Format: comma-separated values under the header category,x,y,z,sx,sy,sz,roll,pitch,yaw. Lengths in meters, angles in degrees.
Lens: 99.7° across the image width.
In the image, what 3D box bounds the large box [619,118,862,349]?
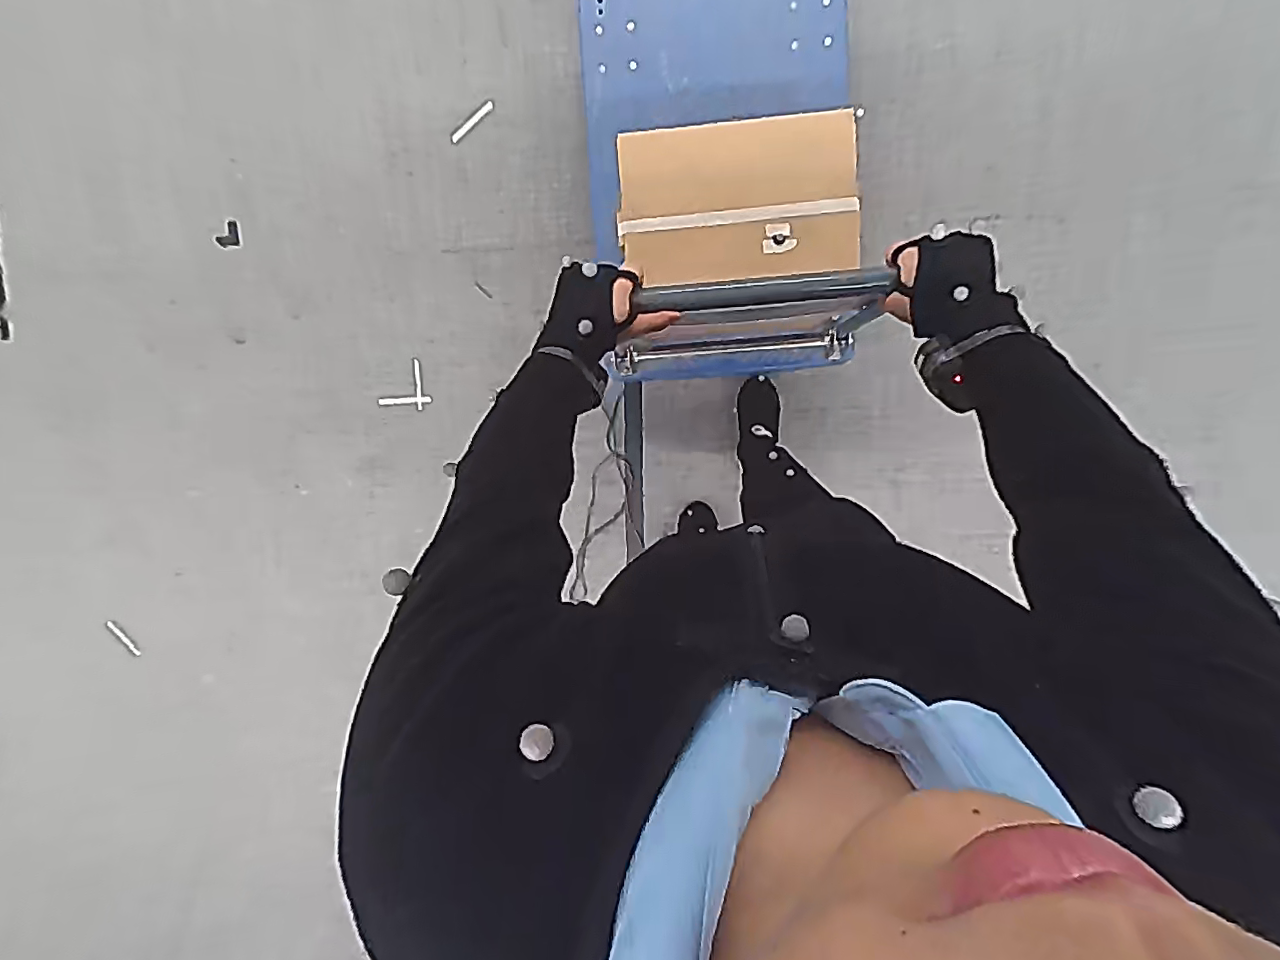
category,x,y,z,sx,sy,sz,roll,pitch,yaw
large box,0.181,-0.453,1.077,0.408,0.320,0.320,-4,97,4
